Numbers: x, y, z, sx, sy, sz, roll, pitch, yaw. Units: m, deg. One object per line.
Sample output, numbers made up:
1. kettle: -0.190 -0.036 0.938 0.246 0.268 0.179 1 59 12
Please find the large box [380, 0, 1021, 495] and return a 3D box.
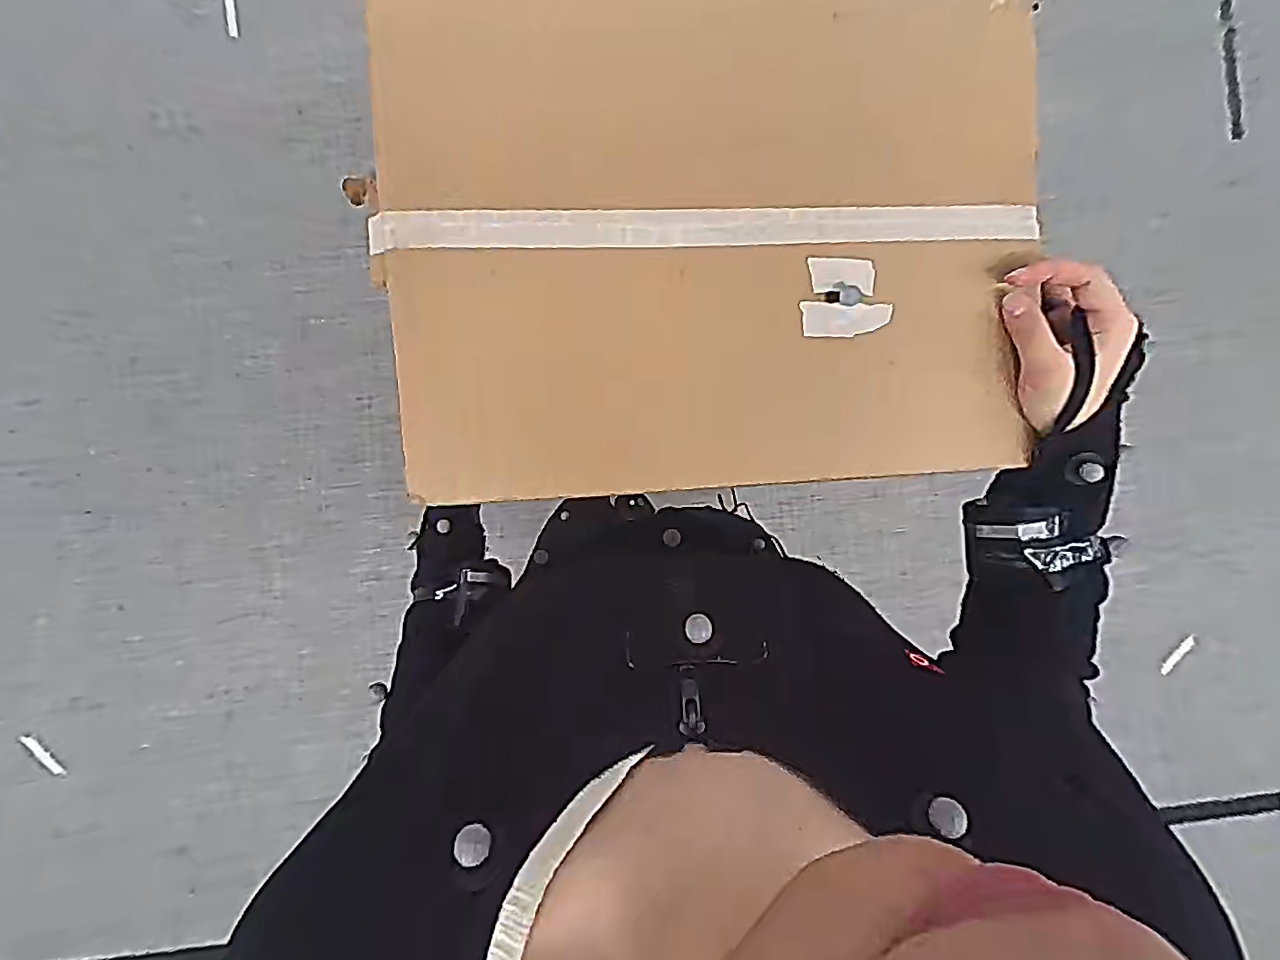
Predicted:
1. large box: 0.035 -0.167 0.484 0.408 0.320 0.320 -4 94 -8
